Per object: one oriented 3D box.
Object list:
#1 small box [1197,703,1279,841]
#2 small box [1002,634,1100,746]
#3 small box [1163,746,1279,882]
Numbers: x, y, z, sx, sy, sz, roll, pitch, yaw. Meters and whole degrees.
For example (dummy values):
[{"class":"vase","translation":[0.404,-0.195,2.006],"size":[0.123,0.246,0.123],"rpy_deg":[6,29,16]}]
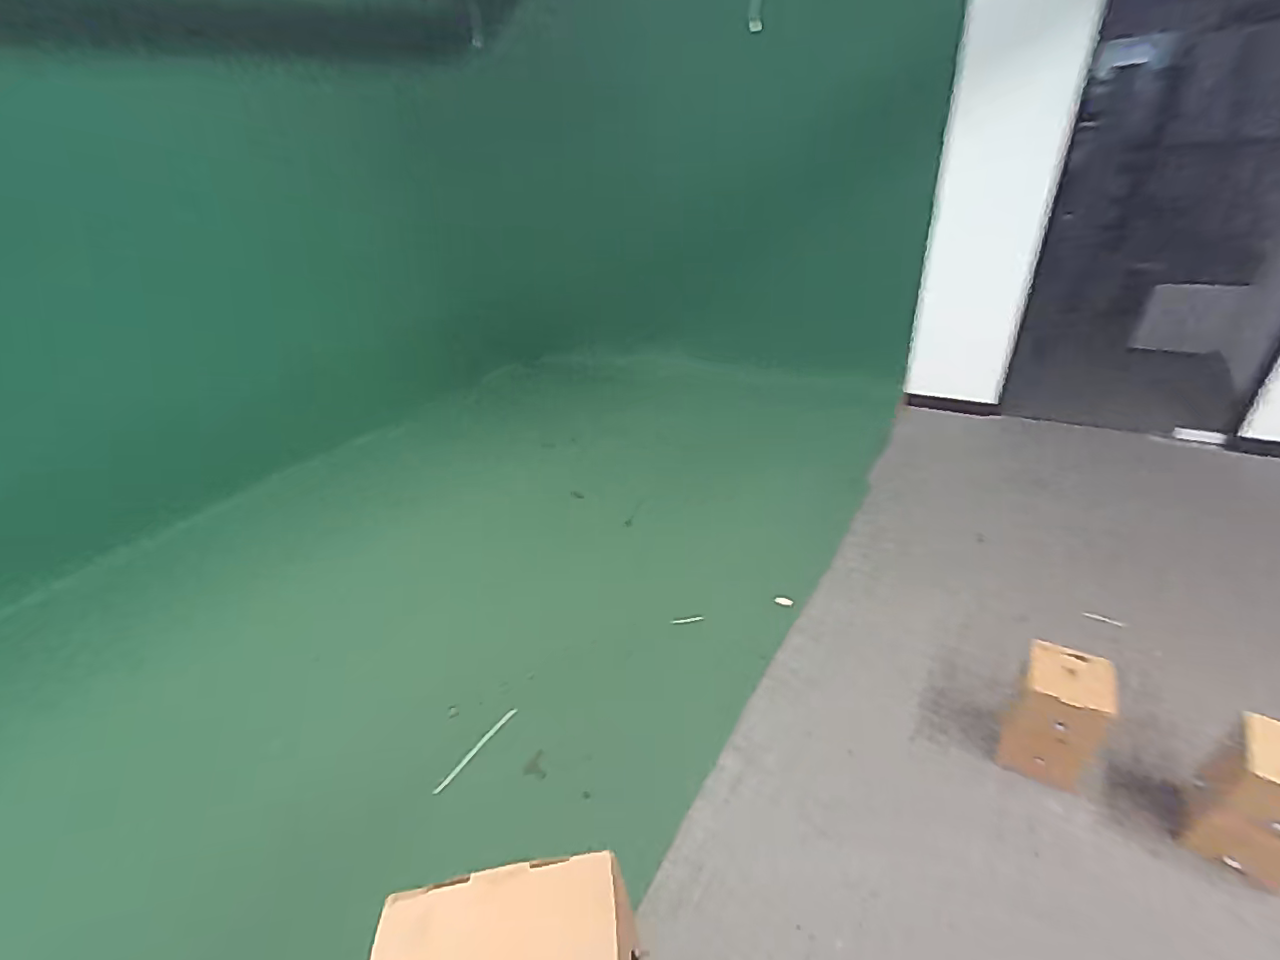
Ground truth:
[{"class":"small box","translation":[1.349,0.633,1.166],"size":[0.168,0.176,0.179],"rpy_deg":[19,41,35]},{"class":"small box","translation":[1.038,0.534,1.374],"size":[0.168,0.176,0.179],"rpy_deg":[14,39,29]},{"class":"small box","translation":[1.361,0.771,1.255],"size":[0.168,0.176,0.179],"rpy_deg":[21,43,35]}]
